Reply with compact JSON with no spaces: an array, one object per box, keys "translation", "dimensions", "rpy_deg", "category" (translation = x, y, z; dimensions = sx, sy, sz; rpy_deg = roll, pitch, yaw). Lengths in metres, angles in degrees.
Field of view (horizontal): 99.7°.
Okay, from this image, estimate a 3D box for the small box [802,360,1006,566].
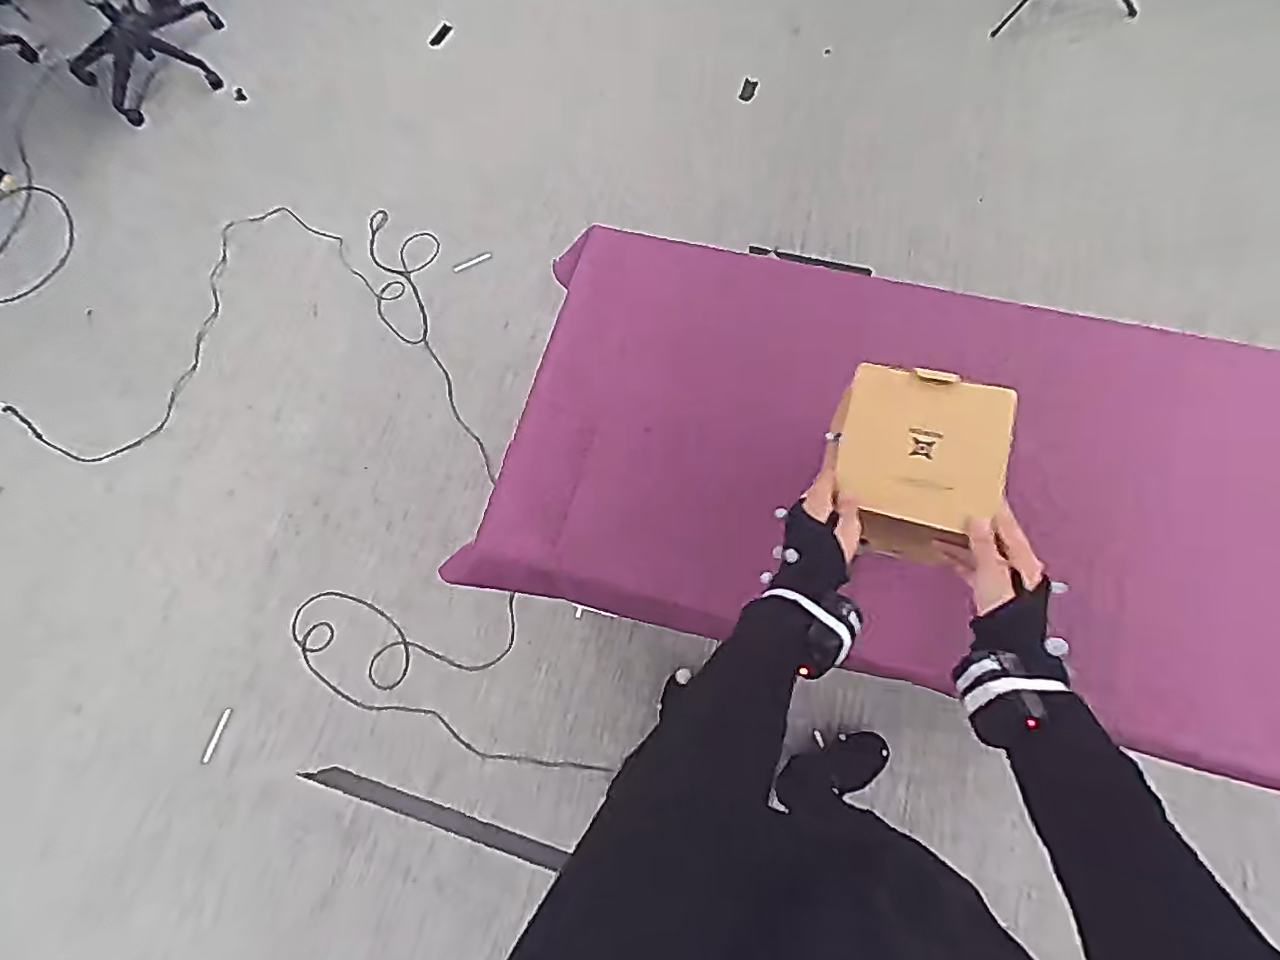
[{"translation":[0.300,-0.012,0.646],"dimensions":[0.168,0.176,0.179],"rpy_deg":[15,75,13],"category":"small box"}]
